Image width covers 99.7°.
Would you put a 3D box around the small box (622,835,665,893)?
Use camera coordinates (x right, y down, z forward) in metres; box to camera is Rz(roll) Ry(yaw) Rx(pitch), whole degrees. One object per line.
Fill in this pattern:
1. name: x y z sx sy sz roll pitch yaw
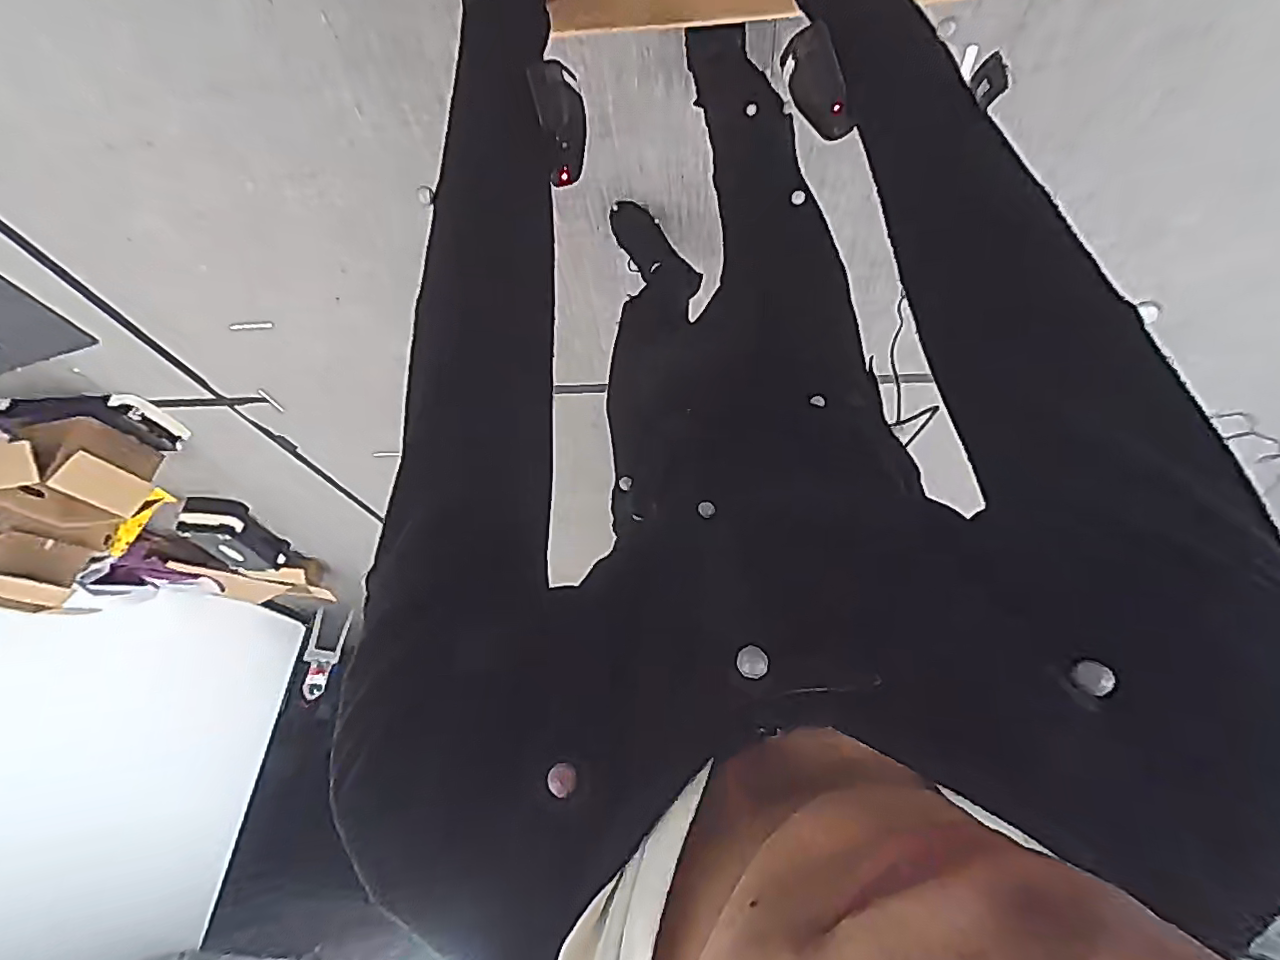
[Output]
1. small box: 0.018 1.534 2.171 0.168 0.176 0.179 0 152 3
